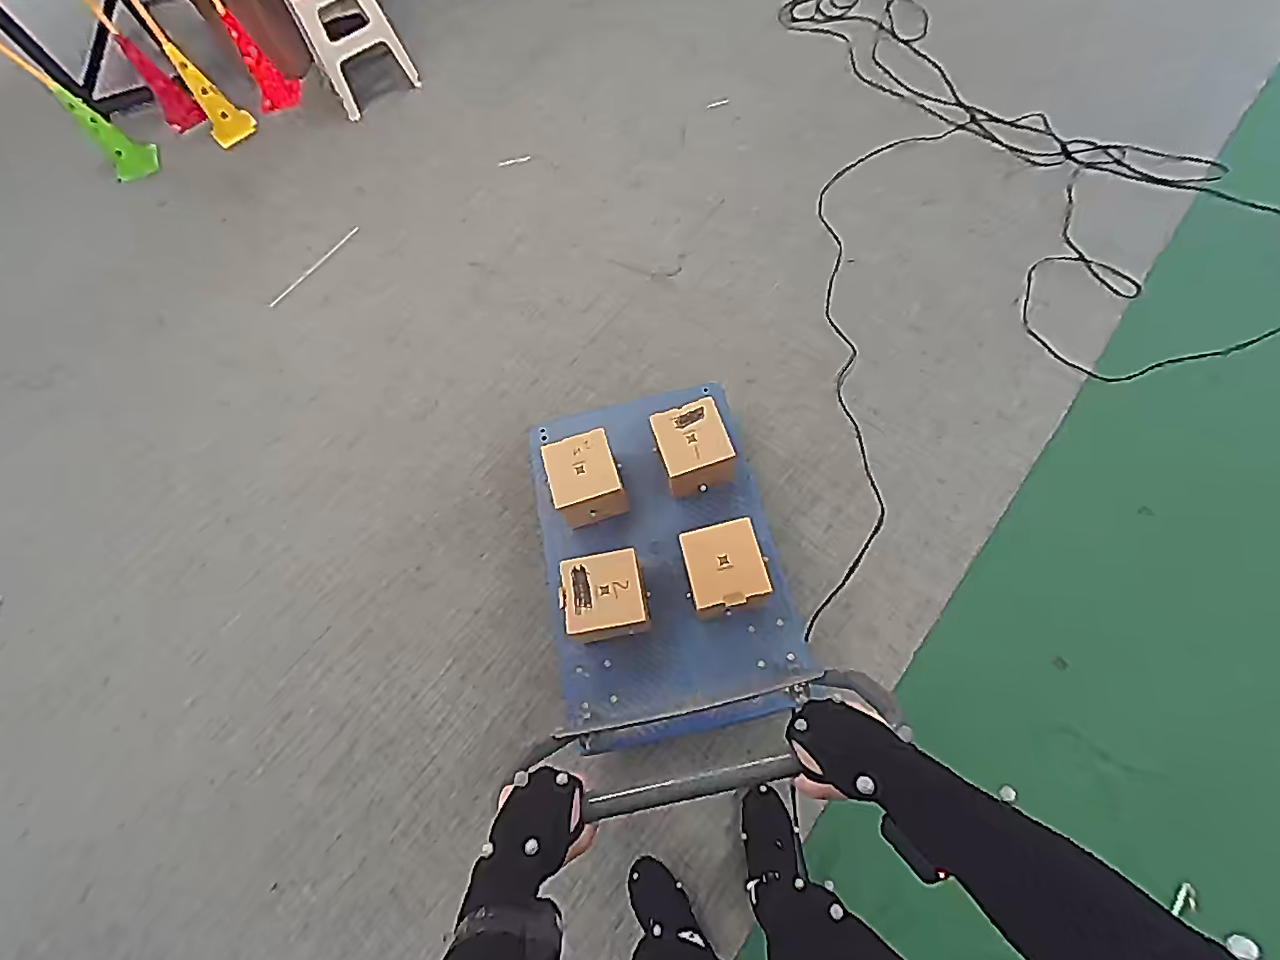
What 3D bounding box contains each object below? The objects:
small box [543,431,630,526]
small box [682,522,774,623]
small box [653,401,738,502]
[{"bbox_3d":[-0.131,0.005,1.374,0.168,0.176,0.179,-17,67,-1],"label":"small box"},{"bbox_3d":[0.196,0.218,1.249,0.168,0.176,0.179,-14,67,1],"label":"small box"},{"bbox_3d":[0.139,-0.068,1.372,0.168,0.176,0.179,-18,67,0],"label":"small box"}]
